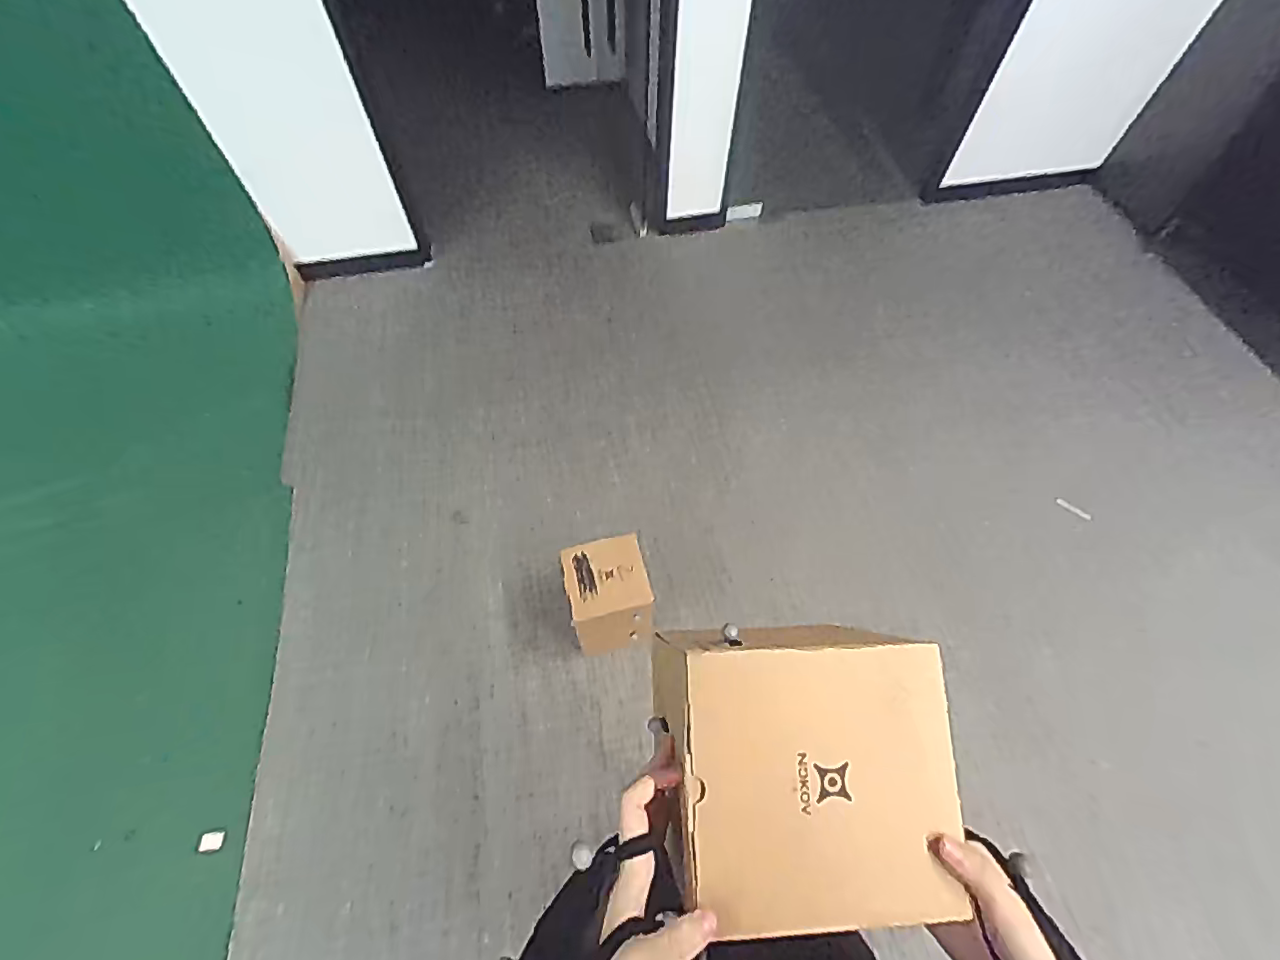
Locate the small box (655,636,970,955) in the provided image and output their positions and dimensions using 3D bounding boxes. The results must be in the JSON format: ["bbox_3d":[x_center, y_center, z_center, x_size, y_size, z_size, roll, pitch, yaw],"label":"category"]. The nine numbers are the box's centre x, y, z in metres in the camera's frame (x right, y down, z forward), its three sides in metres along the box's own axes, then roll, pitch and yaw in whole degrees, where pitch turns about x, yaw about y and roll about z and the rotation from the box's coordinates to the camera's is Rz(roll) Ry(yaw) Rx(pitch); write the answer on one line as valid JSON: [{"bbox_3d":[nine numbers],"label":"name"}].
[{"bbox_3d":[0.111,0.215,0.421,0.179,0.176,0.168,-1,79,-5],"label":"small box"}]
